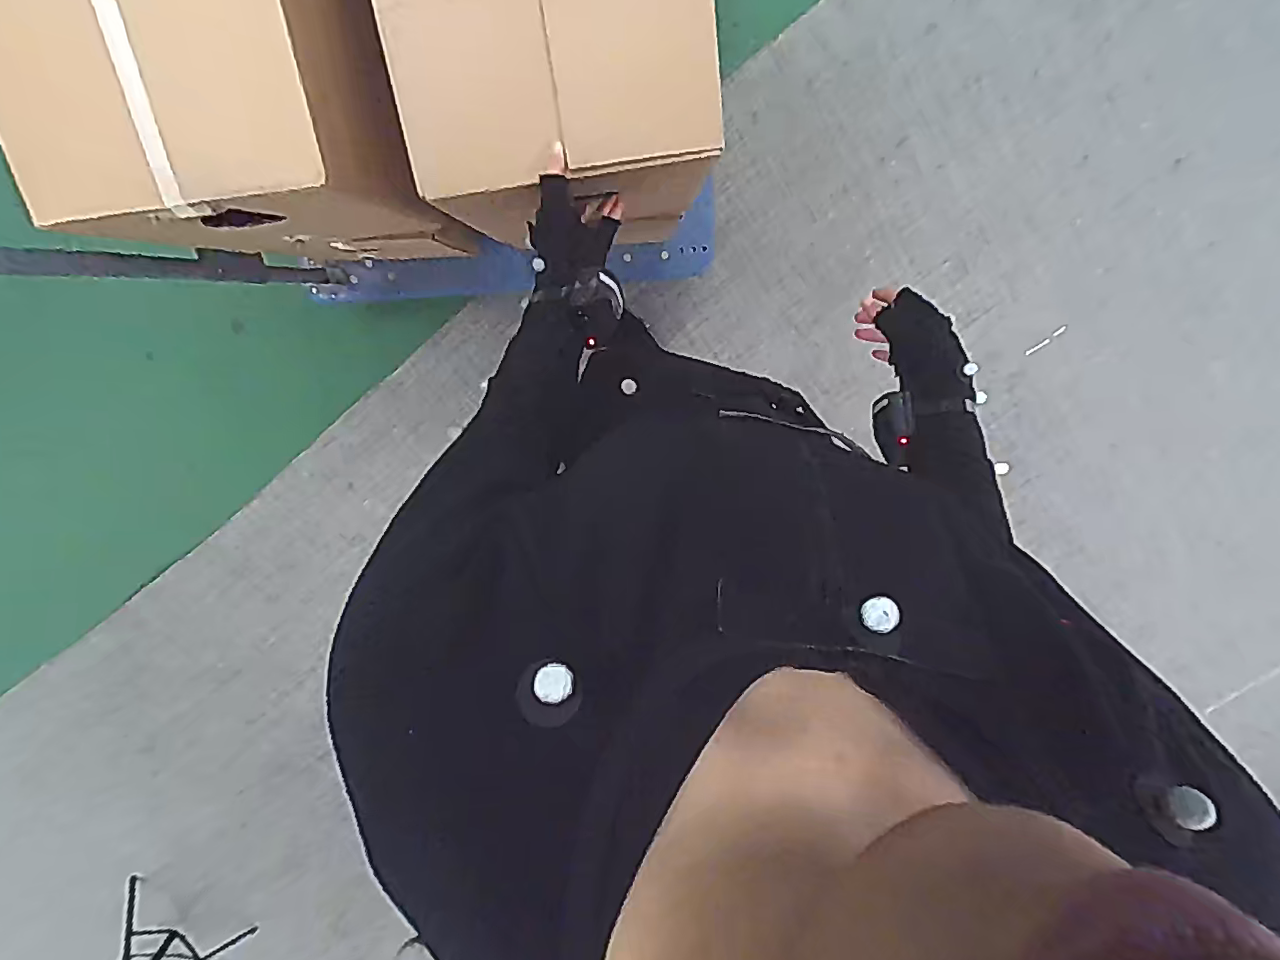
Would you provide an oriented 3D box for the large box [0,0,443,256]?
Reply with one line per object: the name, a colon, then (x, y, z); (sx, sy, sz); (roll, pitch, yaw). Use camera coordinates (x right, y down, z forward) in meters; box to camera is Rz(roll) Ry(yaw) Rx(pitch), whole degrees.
large box: (-0.471, -0.504, 0.620); (0.320, 0.320, 0.408); (-6, 107, 4)
